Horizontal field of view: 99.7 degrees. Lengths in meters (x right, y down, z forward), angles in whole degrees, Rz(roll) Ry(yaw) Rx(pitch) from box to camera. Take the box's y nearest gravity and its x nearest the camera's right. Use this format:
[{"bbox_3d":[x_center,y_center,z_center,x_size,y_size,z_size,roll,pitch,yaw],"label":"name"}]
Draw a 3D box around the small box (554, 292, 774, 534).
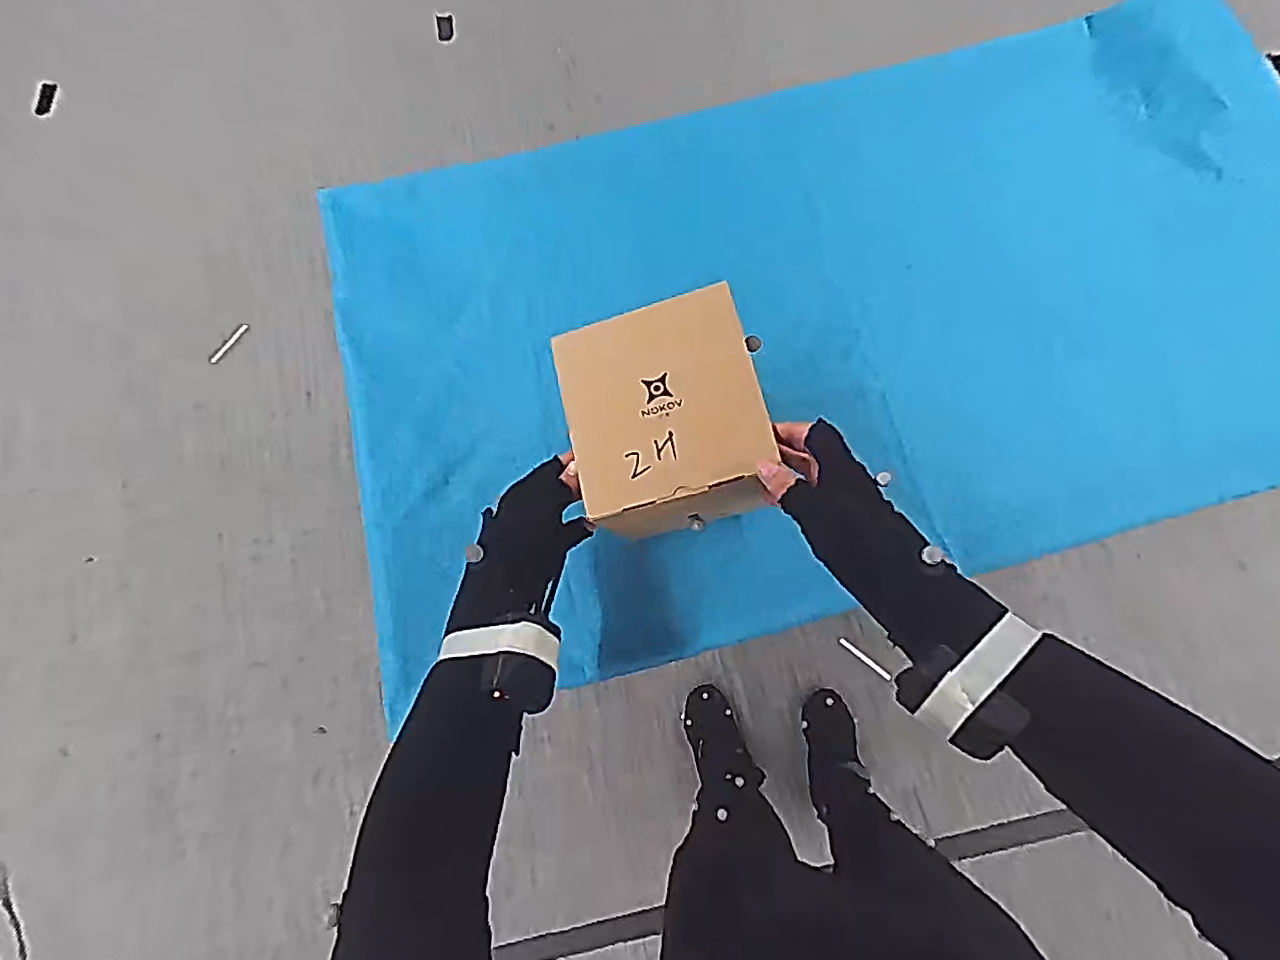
[{"bbox_3d":[0.030,-0.050,0.533,0.168,0.176,0.179,-12,79,11],"label":"small box"}]
